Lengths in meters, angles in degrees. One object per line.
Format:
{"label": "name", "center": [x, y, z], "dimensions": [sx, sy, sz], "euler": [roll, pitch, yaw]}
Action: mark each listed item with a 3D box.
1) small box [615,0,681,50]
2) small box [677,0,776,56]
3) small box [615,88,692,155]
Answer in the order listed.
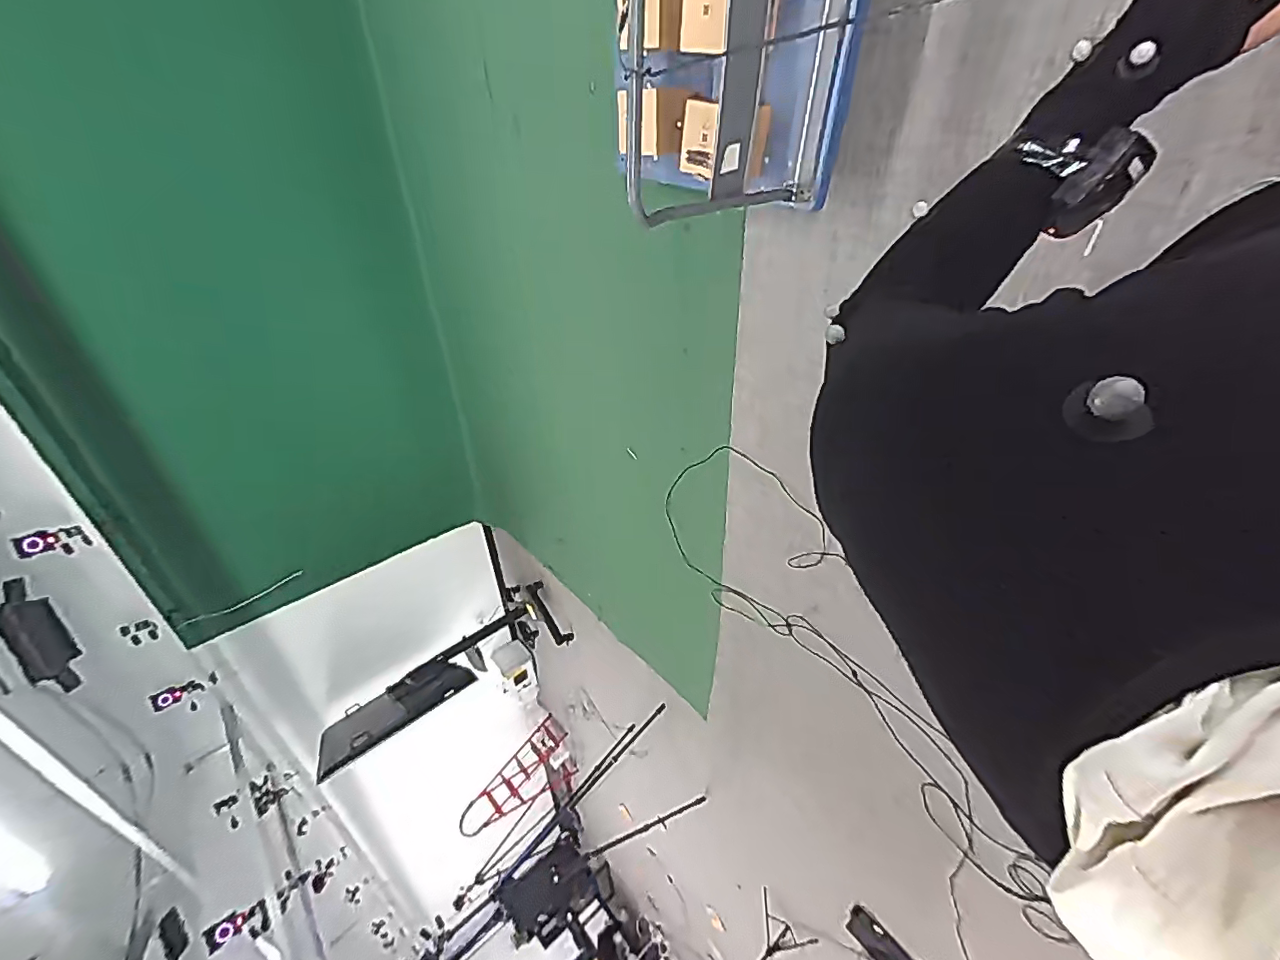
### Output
{"label": "small box", "center": [0.047, -1.312, 1.511], "dimensions": [0.179, 0.176, 0.168], "euler": [33, 138, 36]}
{"label": "small box", "center": [0.219, -1.185, 1.368], "dimensions": [0.179, 0.176, 0.168], "euler": [35, 138, 34]}
{"label": "small box", "center": [0.044, -1.105, 1.664], "dimensions": [0.179, 0.176, 0.168], "euler": [32, 136, 38]}
